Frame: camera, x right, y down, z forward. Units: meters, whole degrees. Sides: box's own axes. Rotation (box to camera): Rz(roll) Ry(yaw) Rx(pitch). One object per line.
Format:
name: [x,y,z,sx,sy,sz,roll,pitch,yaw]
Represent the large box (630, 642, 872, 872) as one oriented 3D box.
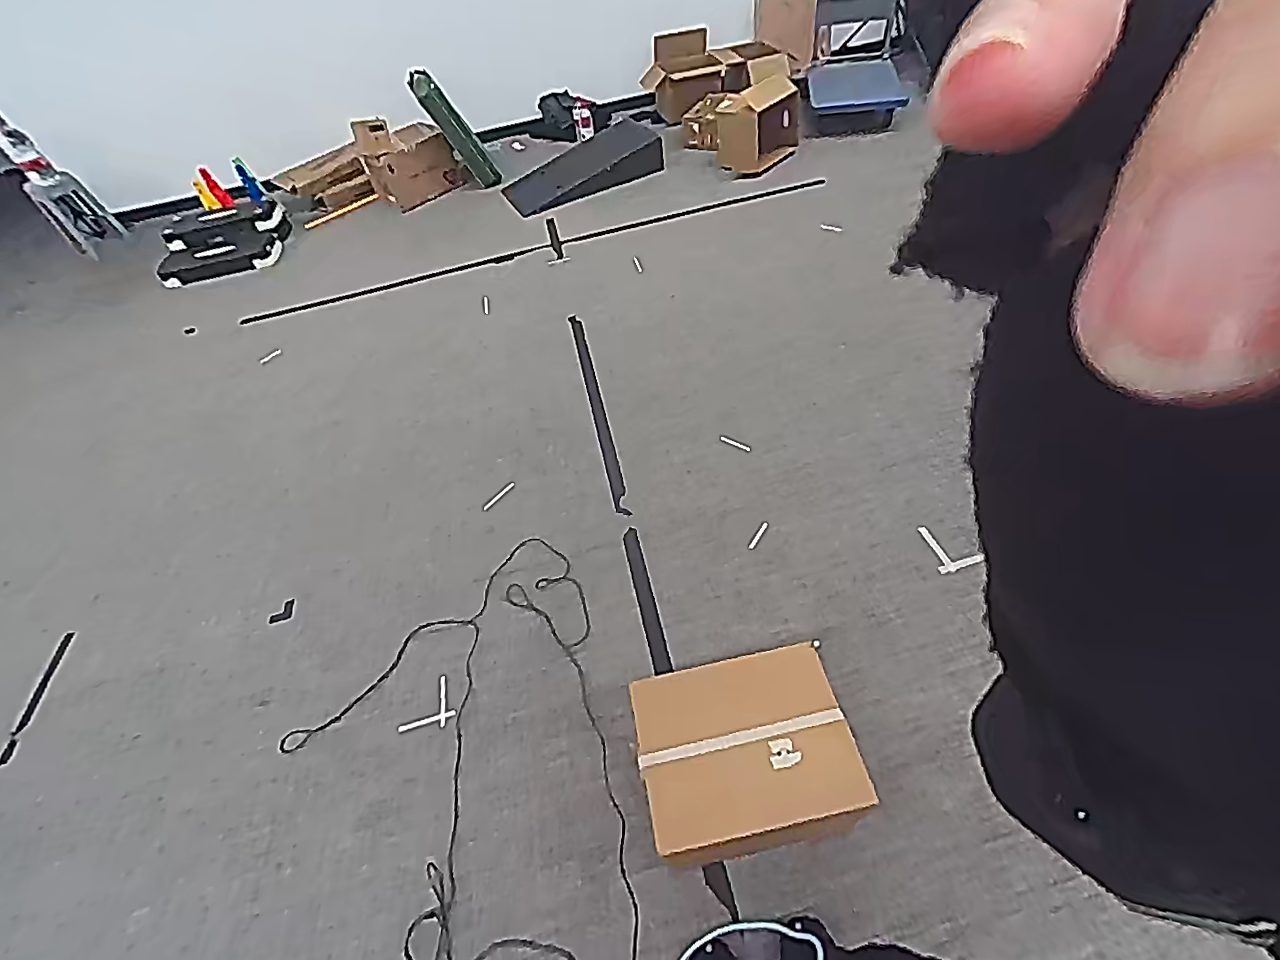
large box: [0.214,0.602,1.171,0.408,0.320,0.320,-12,50,-3]
